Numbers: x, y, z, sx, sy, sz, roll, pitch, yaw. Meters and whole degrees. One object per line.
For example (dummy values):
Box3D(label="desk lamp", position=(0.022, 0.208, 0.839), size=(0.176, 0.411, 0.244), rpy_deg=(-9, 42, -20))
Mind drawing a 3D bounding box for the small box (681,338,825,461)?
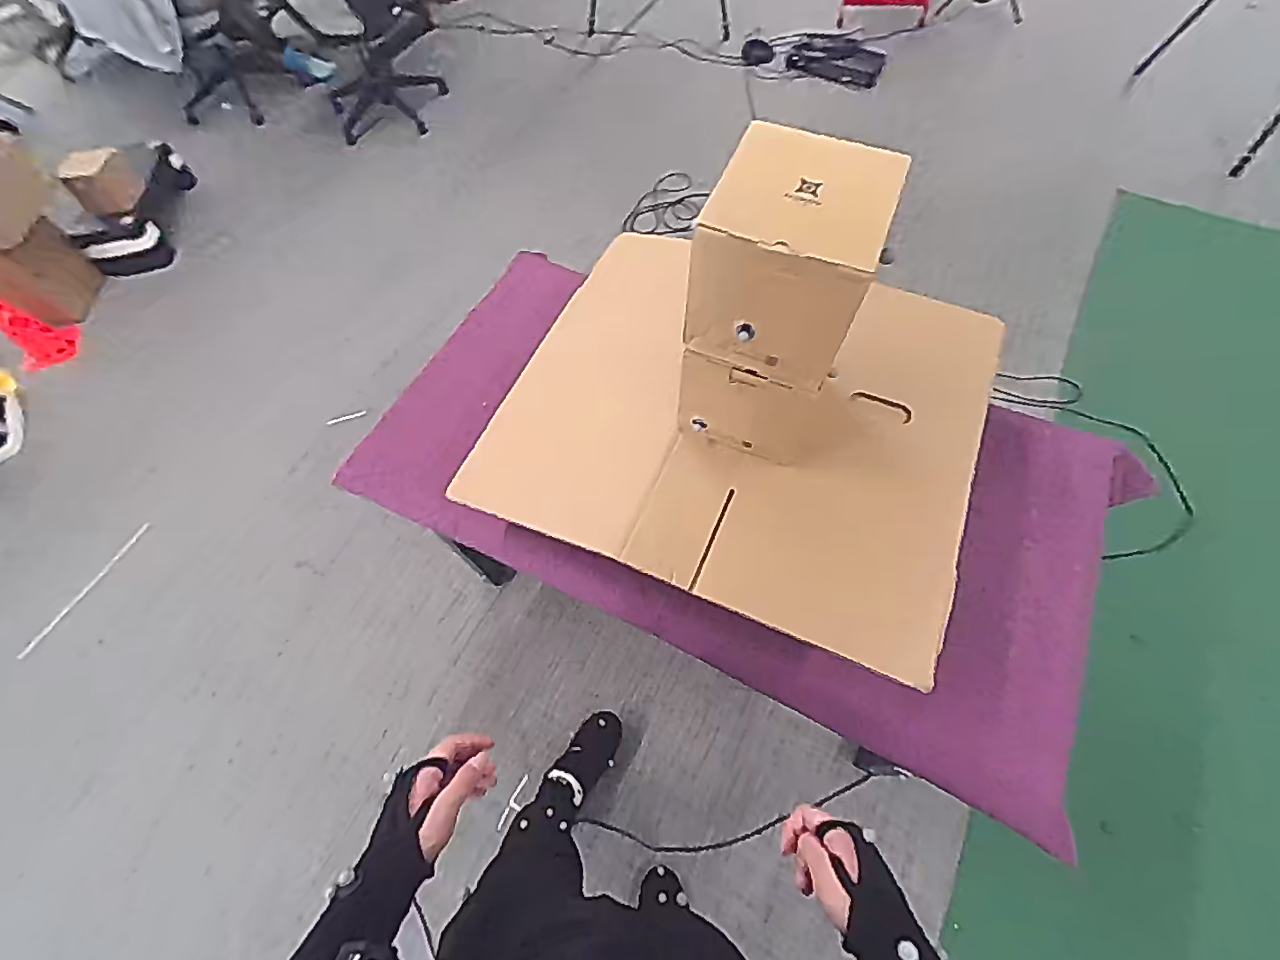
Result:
Box3D(label="small box", position=(0.160, -0.152, 0.721), size=(0.168, 0.176, 0.179), rpy_deg=(21, 65, 11))

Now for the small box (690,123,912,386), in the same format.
Box3D(label="small box", position=(0.159, -0.233, 0.580), size=(0.168, 0.176, 0.179), rpy_deg=(21, 66, 10))
